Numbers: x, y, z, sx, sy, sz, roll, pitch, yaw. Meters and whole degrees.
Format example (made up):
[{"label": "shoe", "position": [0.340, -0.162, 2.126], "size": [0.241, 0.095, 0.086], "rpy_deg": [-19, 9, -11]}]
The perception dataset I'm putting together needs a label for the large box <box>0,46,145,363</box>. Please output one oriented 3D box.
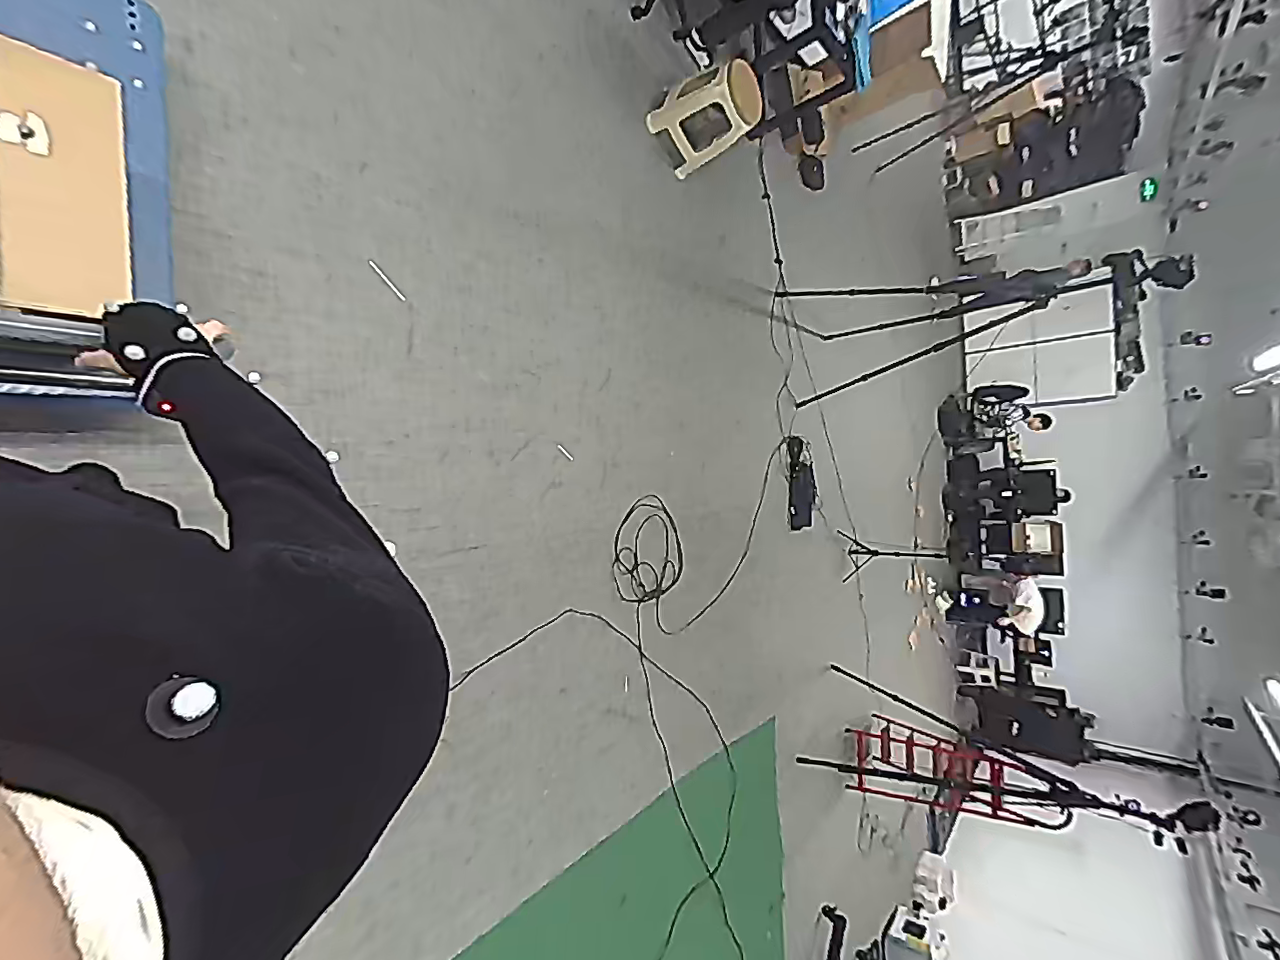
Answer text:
[{"label": "large box", "position": [-1.048, -0.430, 0.880], "size": [0.320, 0.320, 0.408], "rpy_deg": [-3, 89, -49]}]
